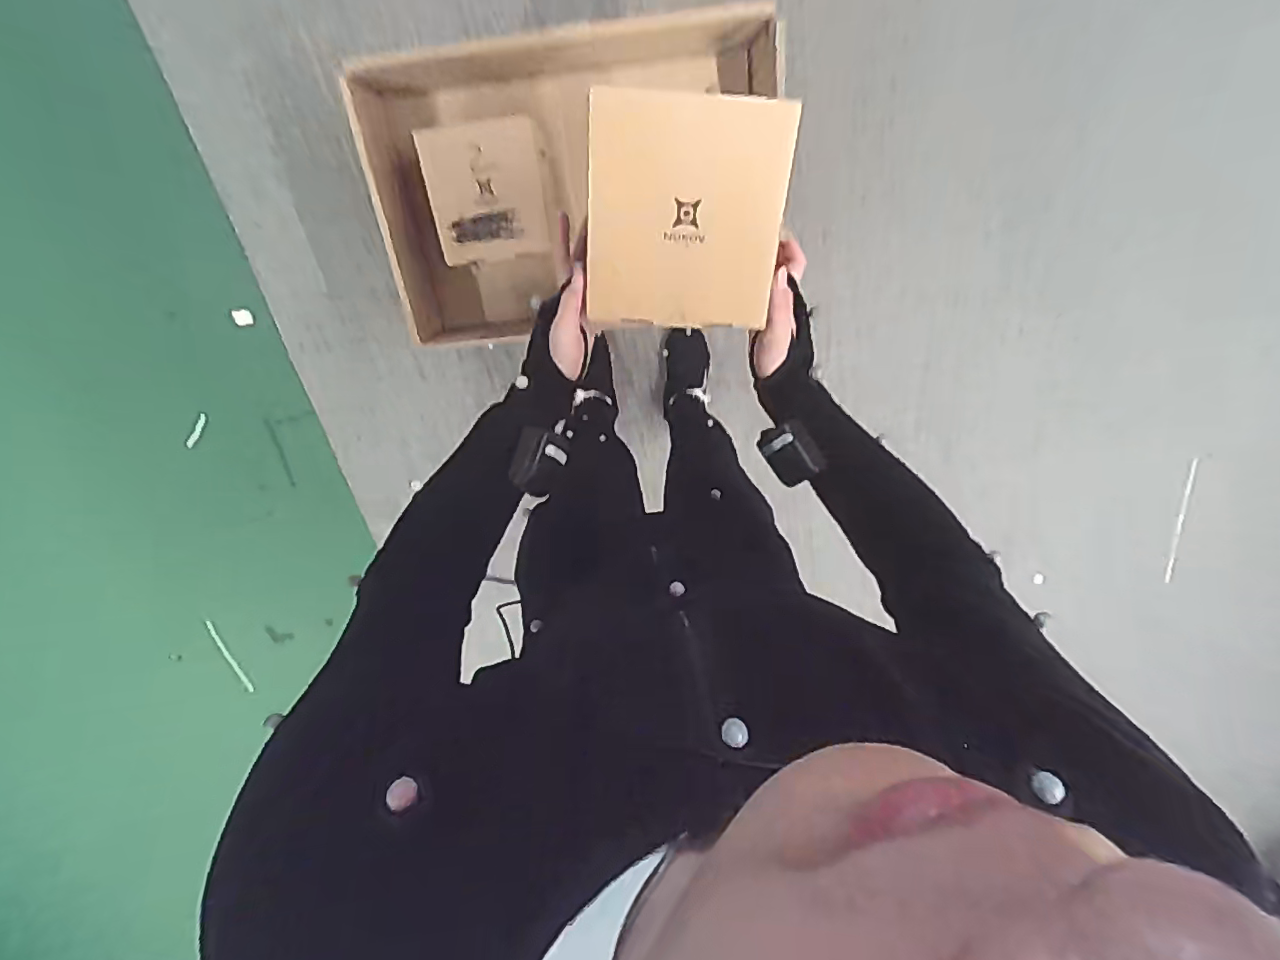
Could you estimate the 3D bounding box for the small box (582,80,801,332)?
[{"bbox_3d":[0.032,-0.248,0.504,0.168,0.176,0.179,2,120,-2],"label":"small box"}]
